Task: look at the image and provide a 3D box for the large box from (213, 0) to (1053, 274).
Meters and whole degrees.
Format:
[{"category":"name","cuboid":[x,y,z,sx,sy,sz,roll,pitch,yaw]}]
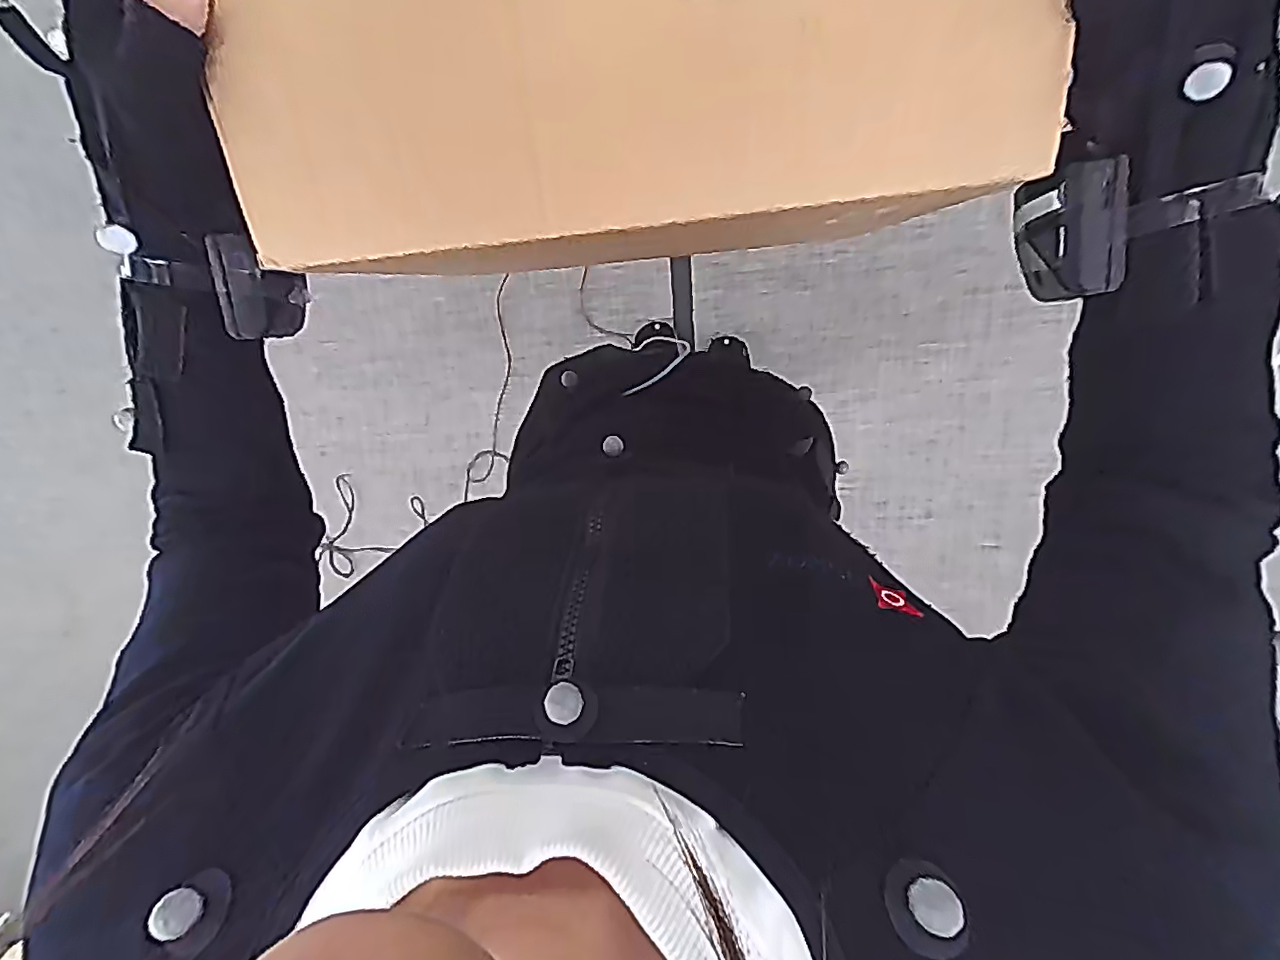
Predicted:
[{"category":"large box","cuboid":[-0.008,-0.334,0.377,0.408,0.320,0.320,-4,110,7]}]
